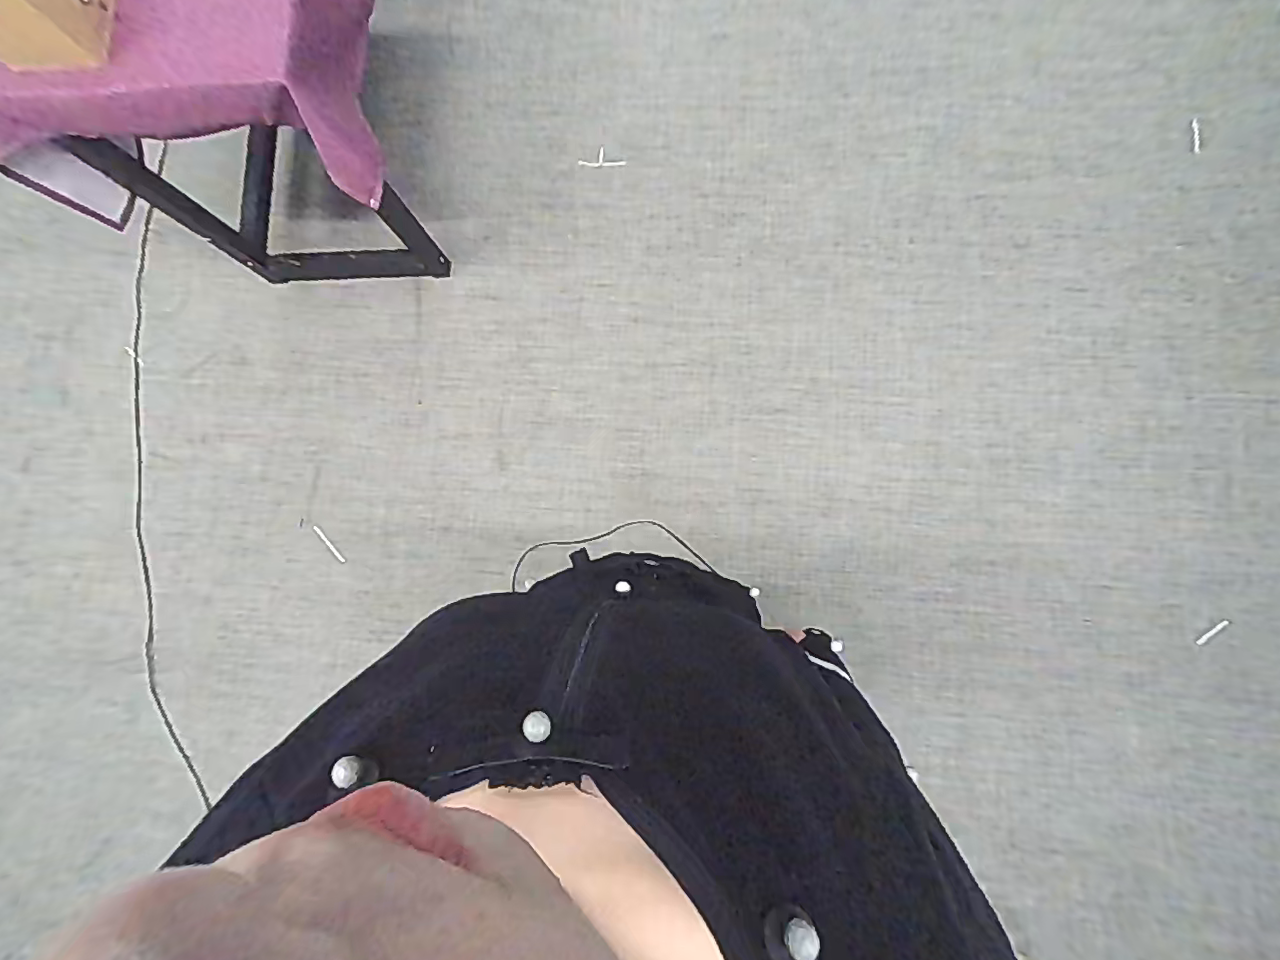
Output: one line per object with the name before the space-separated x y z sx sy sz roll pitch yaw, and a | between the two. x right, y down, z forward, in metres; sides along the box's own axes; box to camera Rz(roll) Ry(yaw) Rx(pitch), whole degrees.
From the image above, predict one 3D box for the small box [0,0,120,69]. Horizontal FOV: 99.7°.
small box | -1.026 -0.817 0.887 0.179 0.176 0.168 0 83 3
